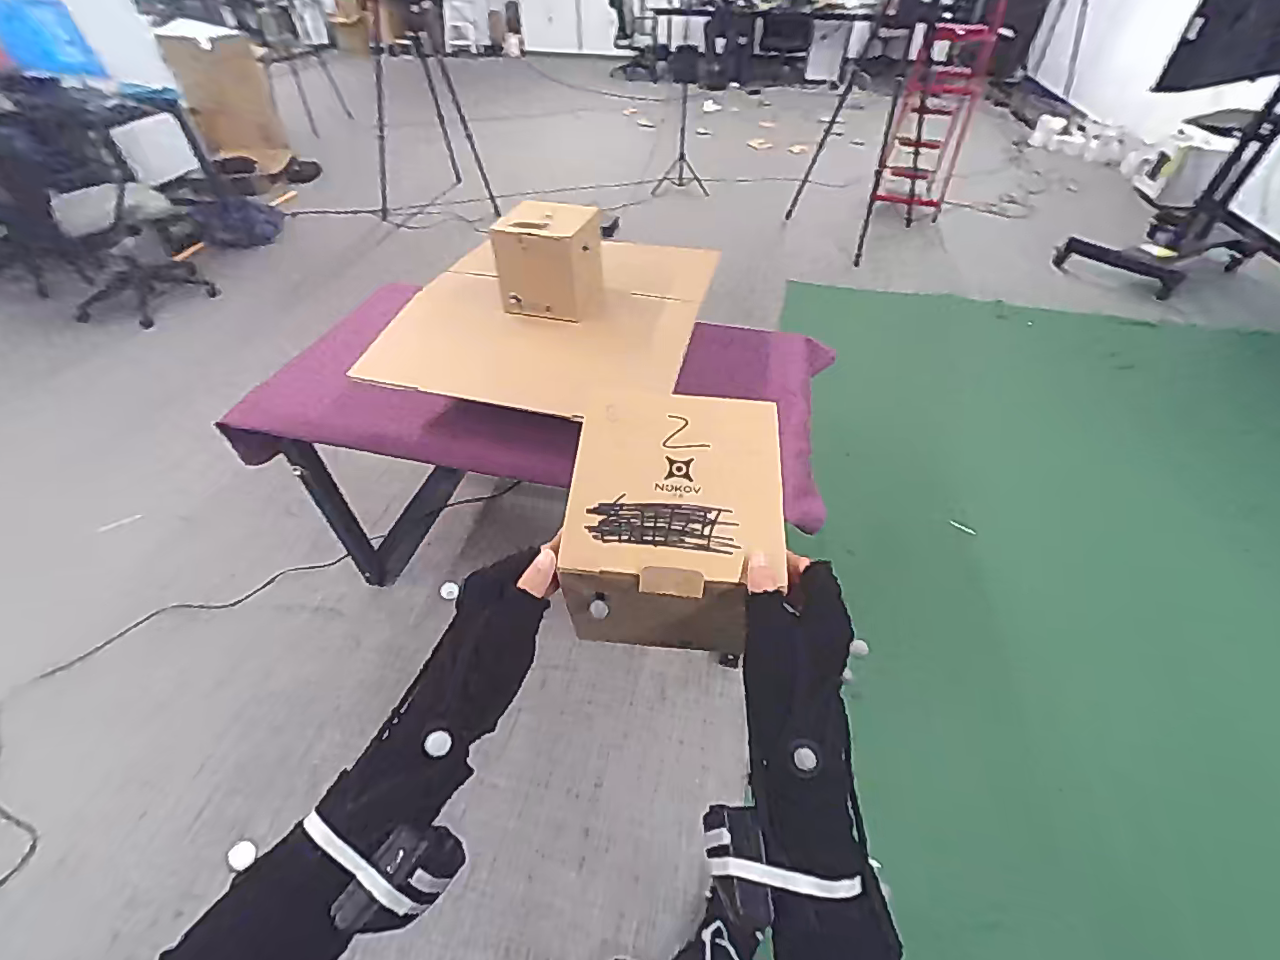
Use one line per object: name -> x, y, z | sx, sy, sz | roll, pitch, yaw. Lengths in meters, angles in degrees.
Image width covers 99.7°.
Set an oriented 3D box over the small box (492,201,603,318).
small box -> -0.178, -0.452, 1.113 | 0.168, 0.176, 0.179 | 11, 45, 11
